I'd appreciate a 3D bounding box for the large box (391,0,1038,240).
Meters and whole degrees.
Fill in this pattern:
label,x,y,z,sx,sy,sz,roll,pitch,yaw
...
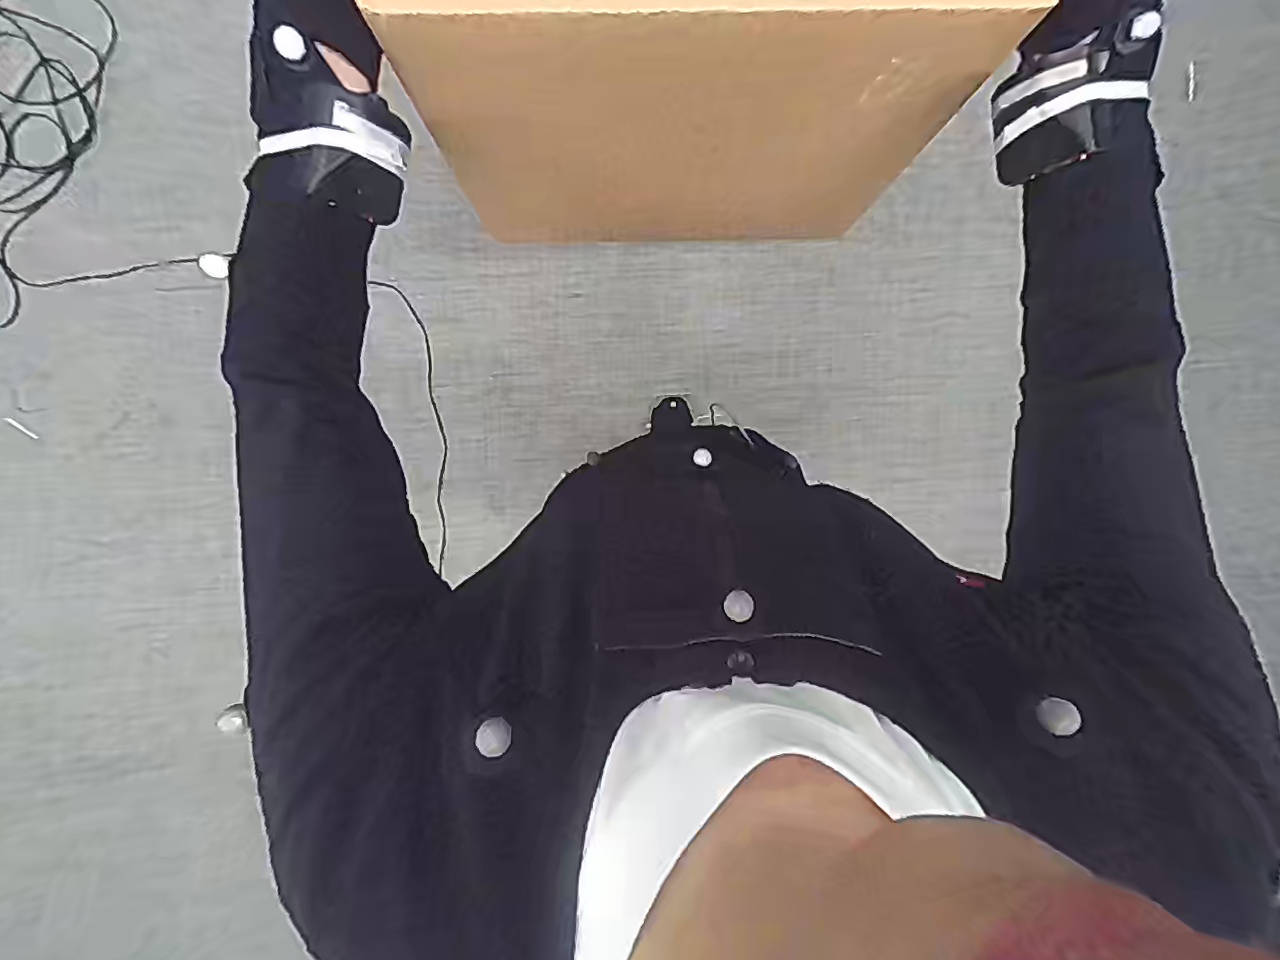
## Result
label,x,y,z,sx,sy,sz,roll,pitch,yaw
large box,0.034,-0.431,0.470,0.408,0.320,0.320,-2,91,-3
